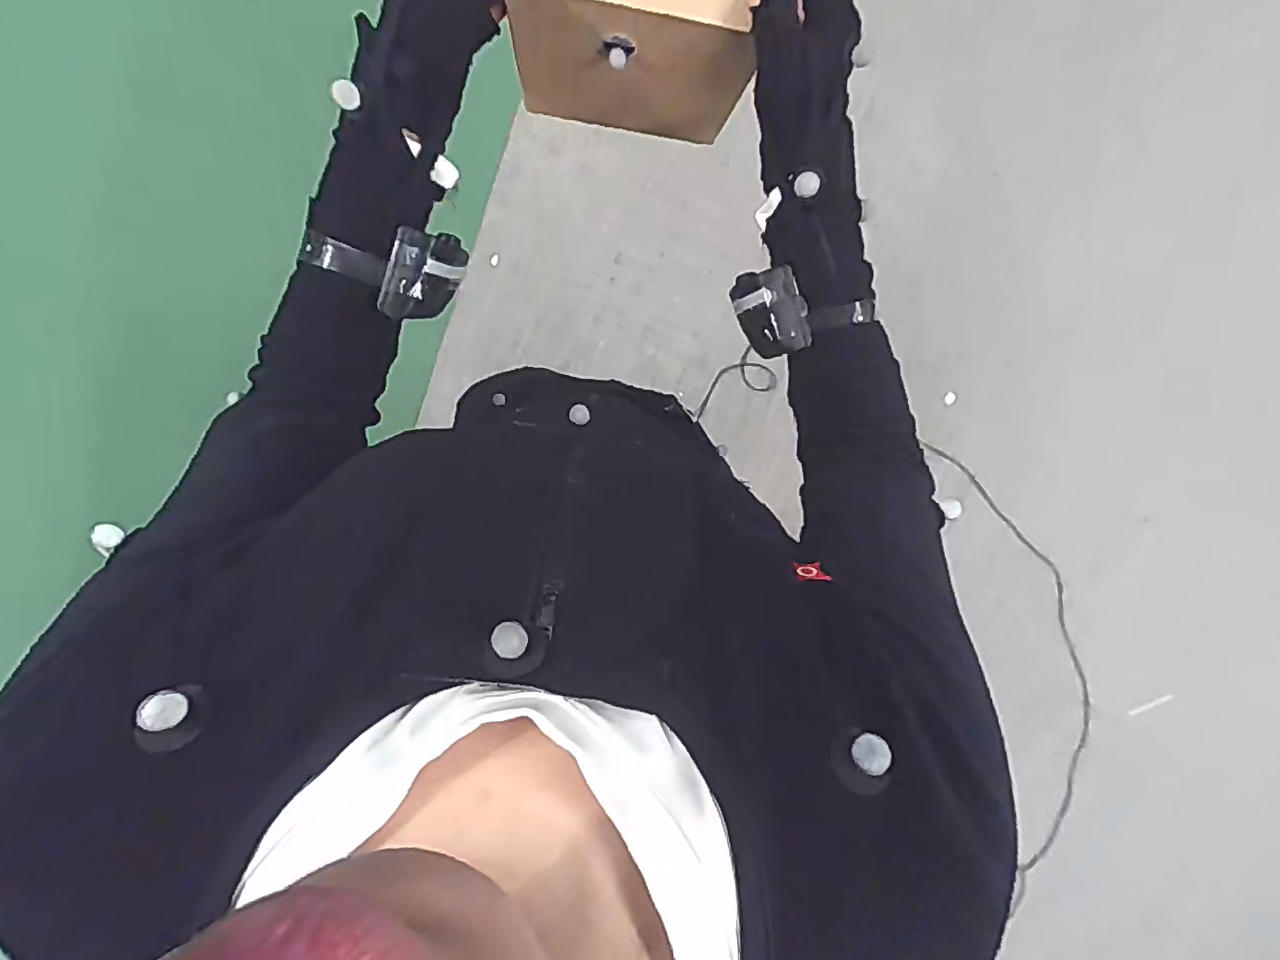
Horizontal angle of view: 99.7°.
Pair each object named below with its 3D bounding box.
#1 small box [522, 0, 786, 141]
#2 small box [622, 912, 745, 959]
[{"bbox_3d":[0.006,-0.385,0.404,0.179,0.176,0.168,6,100,-9],"label":"small box"},{"bbox_3d":[0.060,0.769,0.774,0.179,0.176,0.168,10,98,-1],"label":"small box"}]
